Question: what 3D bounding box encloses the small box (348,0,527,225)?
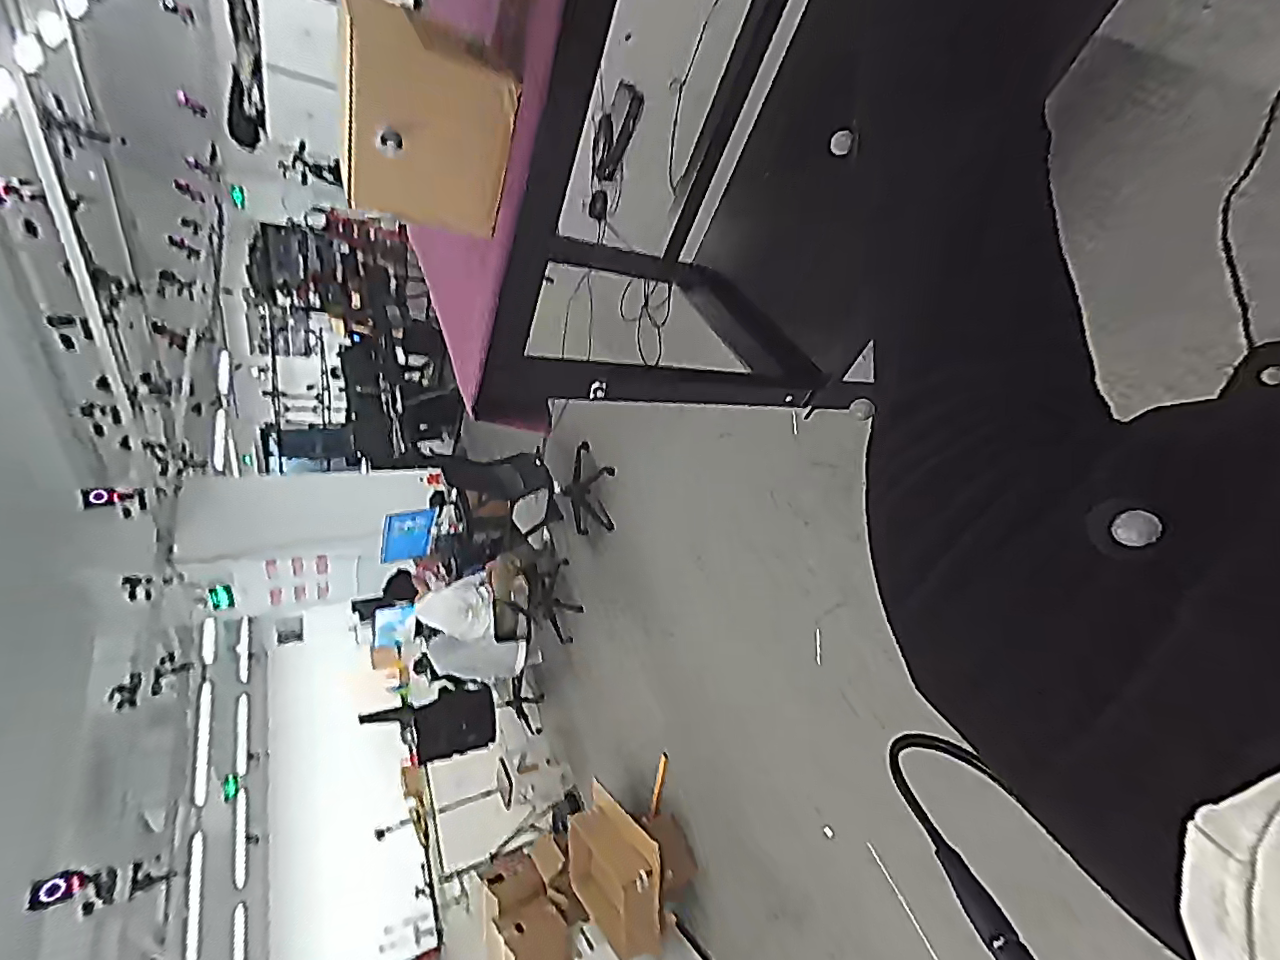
[{"bbox_3d":[-0.245,-0.432,0.639,0.179,0.176,0.168,-60,43,40],"label":"small box"}]
